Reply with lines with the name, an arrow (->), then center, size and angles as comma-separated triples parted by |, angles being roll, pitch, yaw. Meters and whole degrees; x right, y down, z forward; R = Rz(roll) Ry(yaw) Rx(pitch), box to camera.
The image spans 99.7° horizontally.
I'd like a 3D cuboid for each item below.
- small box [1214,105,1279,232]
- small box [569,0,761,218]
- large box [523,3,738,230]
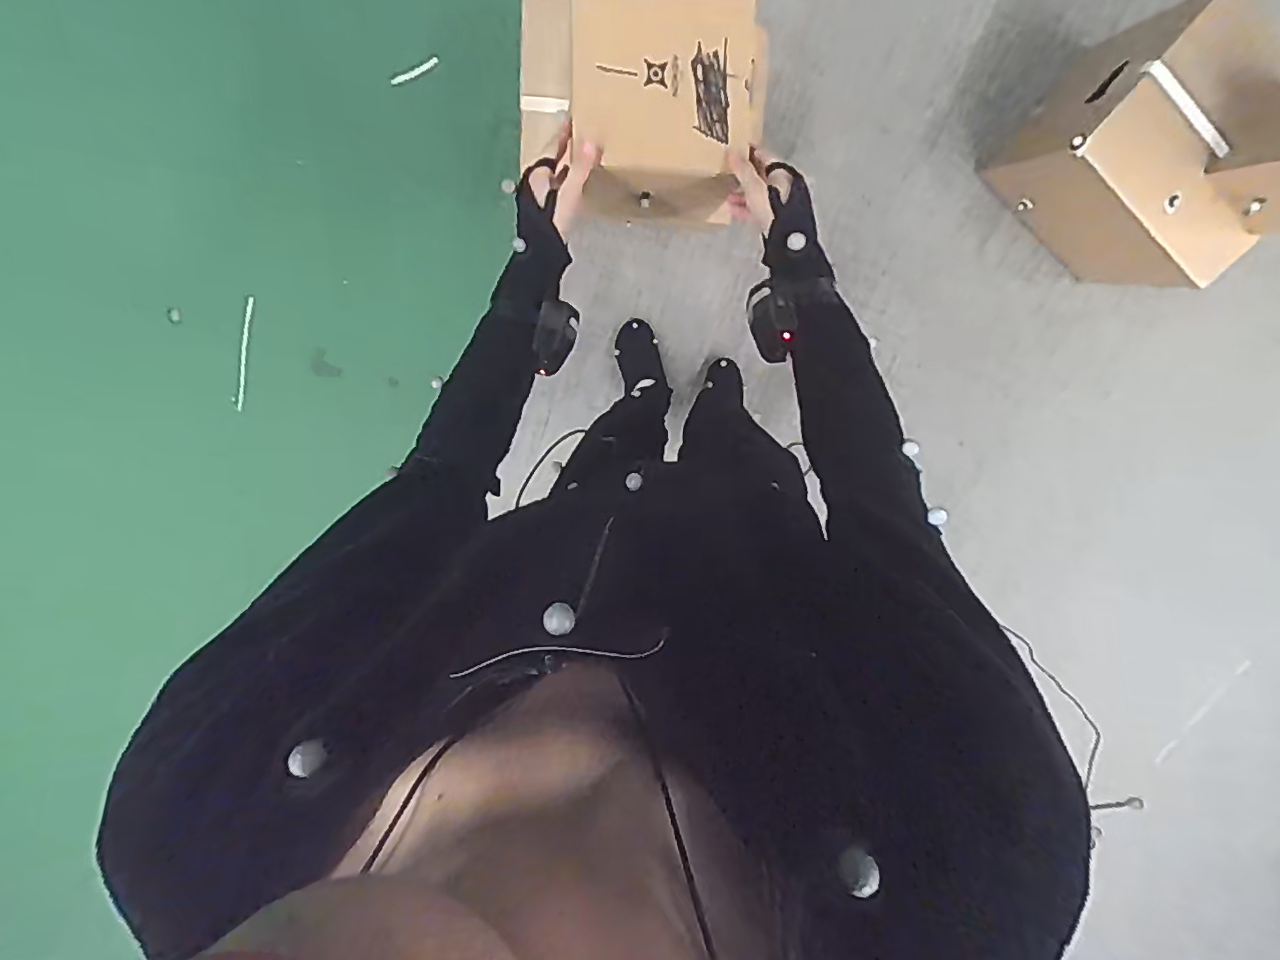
small box -> 1.133, -0.537, 0.885 | 0.168, 0.176, 0.179 | 37, 106, -13
small box -> 0.014, -0.392, 0.580 | 0.179, 0.176, 0.168 | -1, 101, -7
large box -> -0.004, -0.697, 1.100 | 0.408, 0.320, 0.320 | 6, 111, 0
